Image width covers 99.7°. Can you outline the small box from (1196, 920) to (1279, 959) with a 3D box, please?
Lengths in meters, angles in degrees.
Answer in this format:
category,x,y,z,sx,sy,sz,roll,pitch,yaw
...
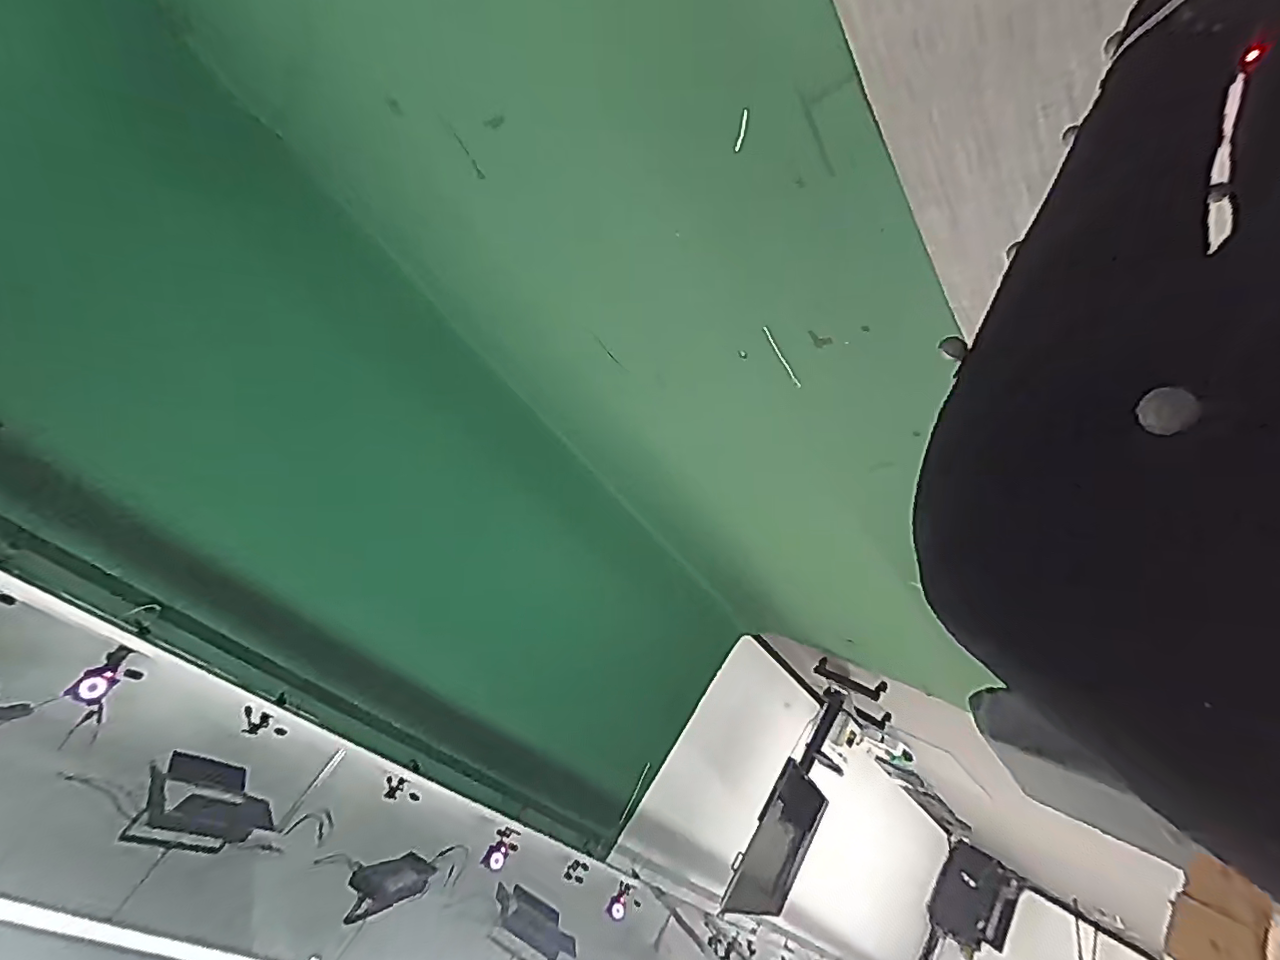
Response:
category,x,y,z,sx,sy,sz,roll,pitch,yaw
small box,1.571,1.283,1.394,0.179,0.176,0.168,9,147,54

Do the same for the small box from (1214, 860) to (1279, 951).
category,x,y,z,sx,sy,sz,roll,pitch,yaw
small box,1.675,1.164,1.443,0.179,0.176,0.168,47,160,-27
